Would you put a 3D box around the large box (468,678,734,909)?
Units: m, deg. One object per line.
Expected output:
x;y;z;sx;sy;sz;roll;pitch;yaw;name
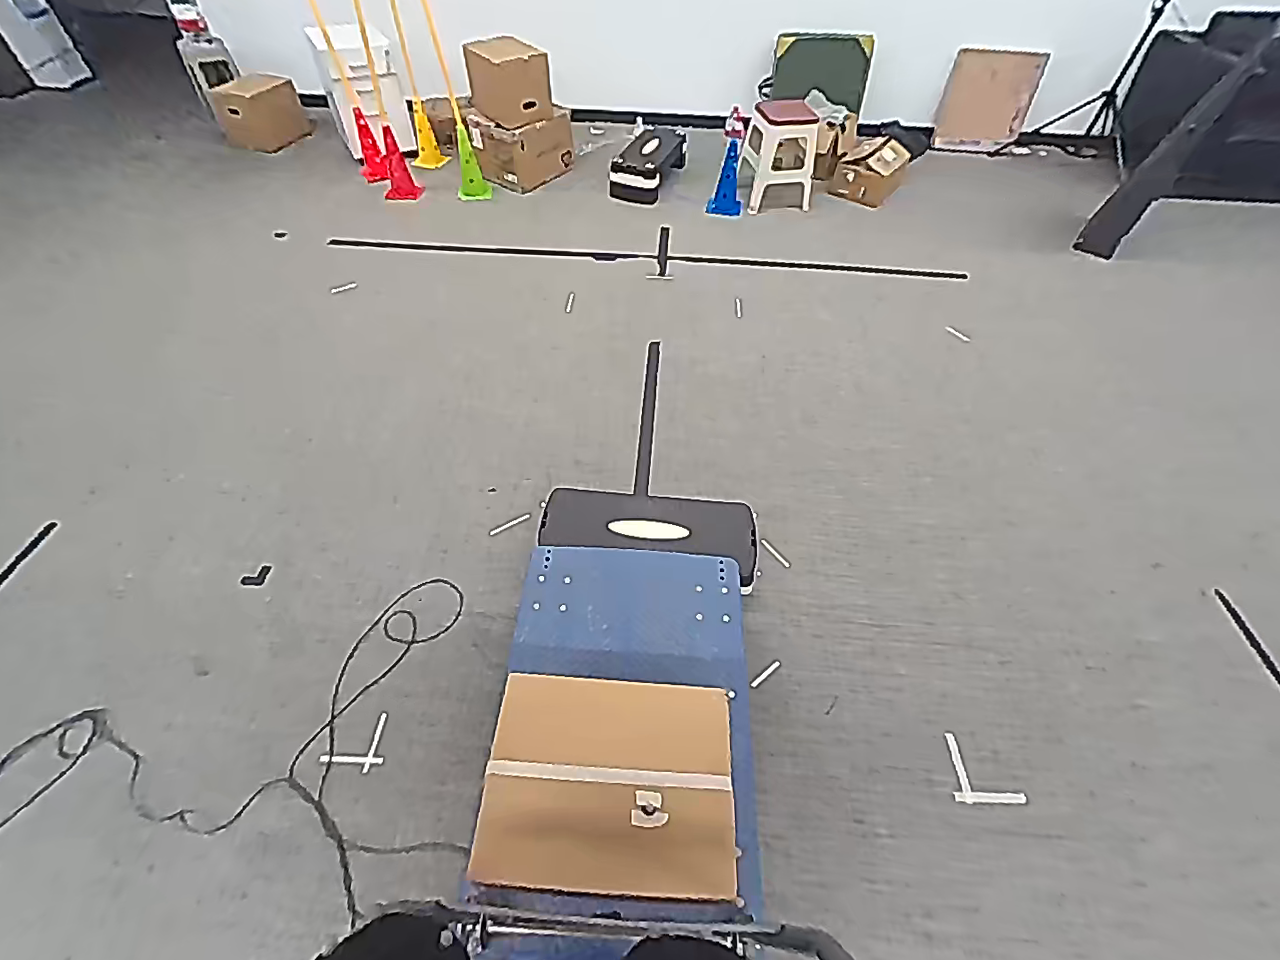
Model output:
-0.060;0.587;1.002;0.408;0.320;0.320;5;51;0;large box
